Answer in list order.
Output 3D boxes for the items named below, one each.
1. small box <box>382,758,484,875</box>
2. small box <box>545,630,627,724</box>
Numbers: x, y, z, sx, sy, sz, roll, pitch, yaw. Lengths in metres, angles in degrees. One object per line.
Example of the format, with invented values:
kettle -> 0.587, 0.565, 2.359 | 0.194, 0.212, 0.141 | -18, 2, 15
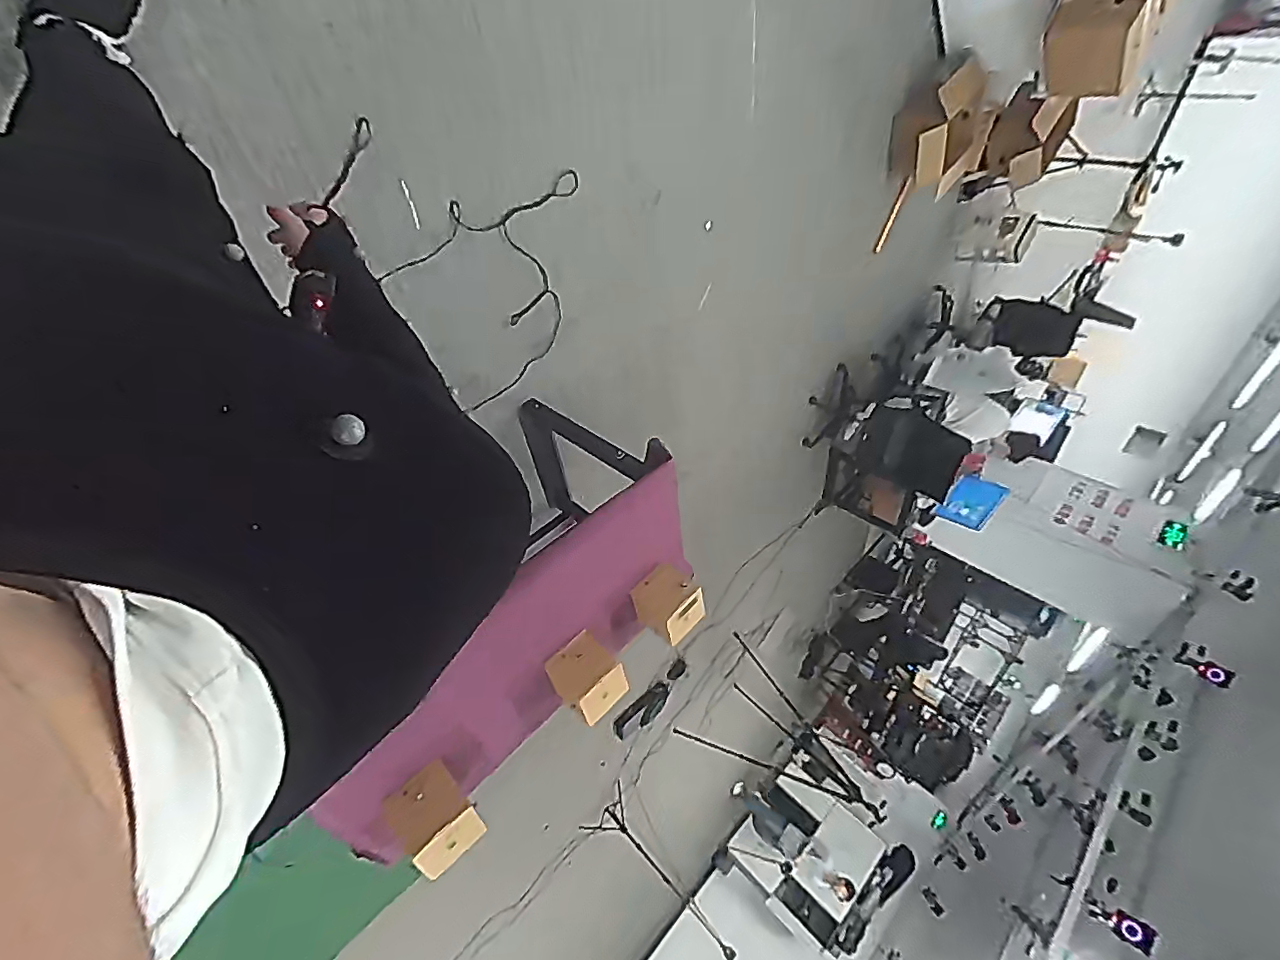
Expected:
small box -> -0.537, 0.869, 1.407 | 0.168, 0.176, 0.179 | -34, 138, -31
small box -> -0.164, 0.594, 1.647 | 0.168, 0.176, 0.179 | -37, 139, -26
